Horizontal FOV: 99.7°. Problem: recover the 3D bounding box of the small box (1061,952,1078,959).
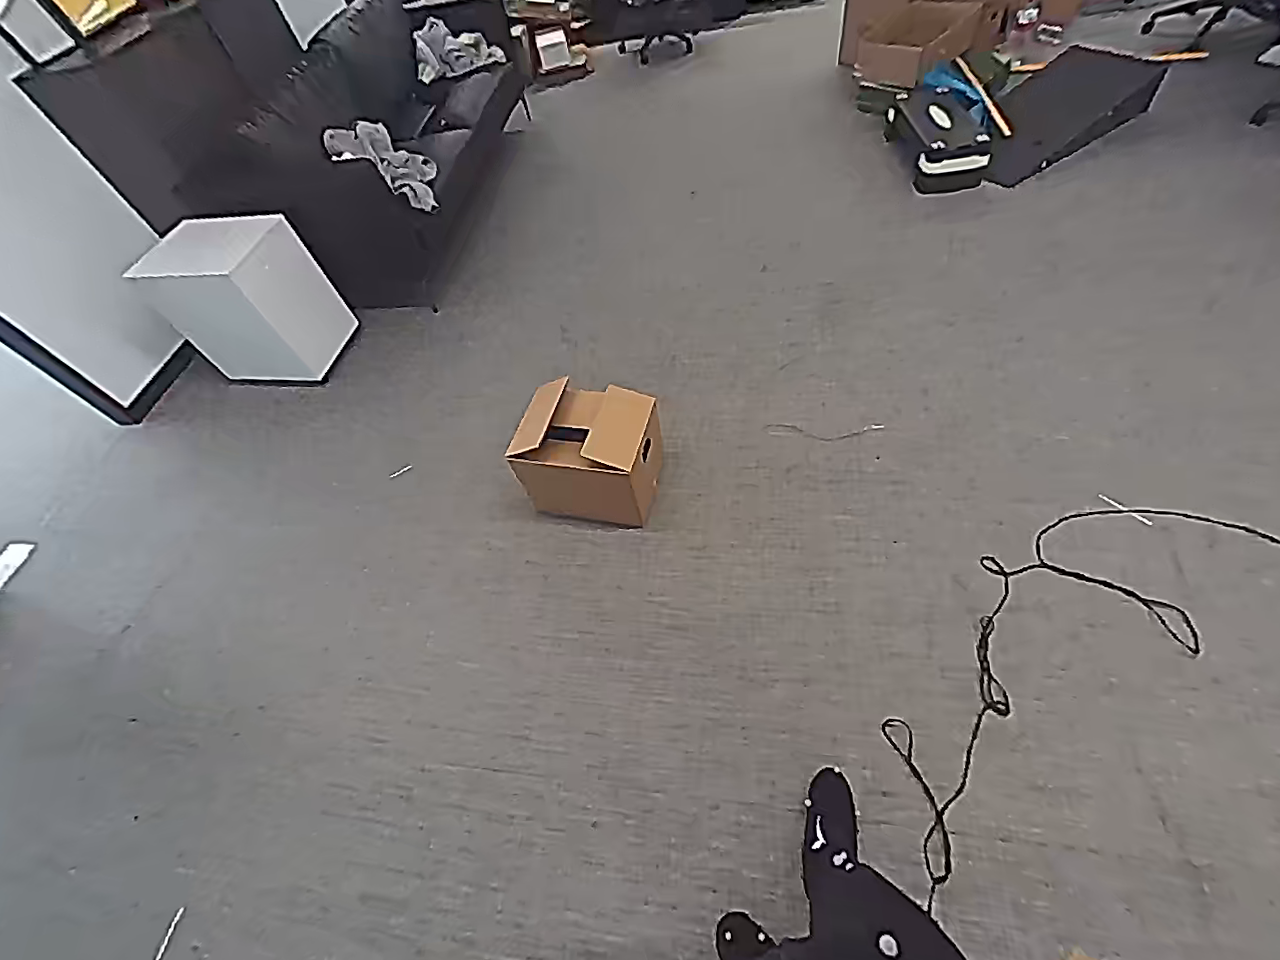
[{"bbox_3d":[0.517,0.678,0.591,0.176,0.179,0.168,-53,44,-4],"label":"small box"}]
